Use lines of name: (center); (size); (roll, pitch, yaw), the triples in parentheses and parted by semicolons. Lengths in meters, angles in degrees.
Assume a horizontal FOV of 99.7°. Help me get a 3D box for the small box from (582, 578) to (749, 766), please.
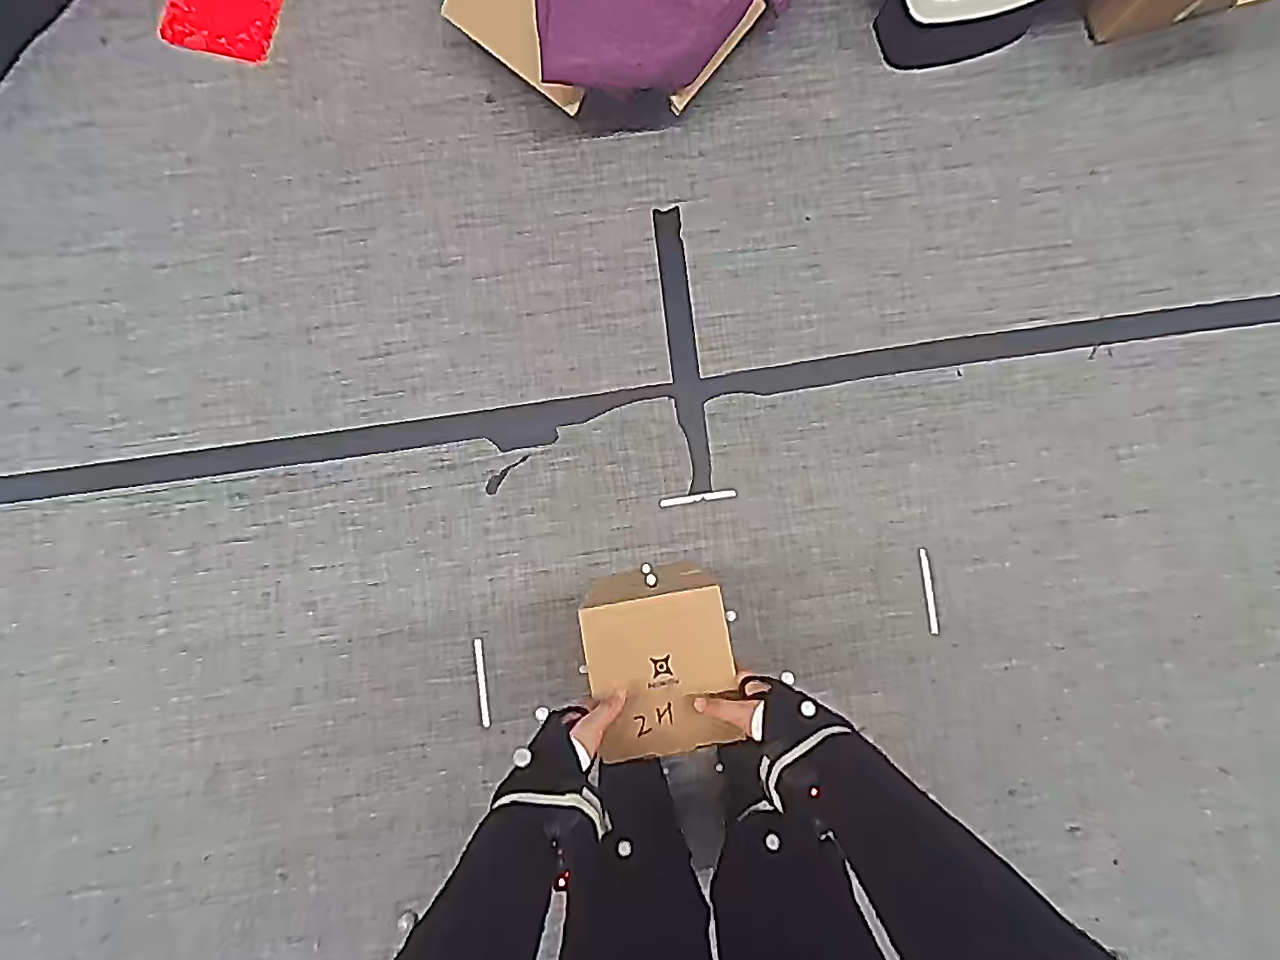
small box: (0.027, 0.222, 0.675); (0.168, 0.176, 0.179); (-9, 85, 0)

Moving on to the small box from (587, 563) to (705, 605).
small box: (0.021, 0.233, 0.859); (0.179, 0.176, 0.168); (-11, 87, -2)
